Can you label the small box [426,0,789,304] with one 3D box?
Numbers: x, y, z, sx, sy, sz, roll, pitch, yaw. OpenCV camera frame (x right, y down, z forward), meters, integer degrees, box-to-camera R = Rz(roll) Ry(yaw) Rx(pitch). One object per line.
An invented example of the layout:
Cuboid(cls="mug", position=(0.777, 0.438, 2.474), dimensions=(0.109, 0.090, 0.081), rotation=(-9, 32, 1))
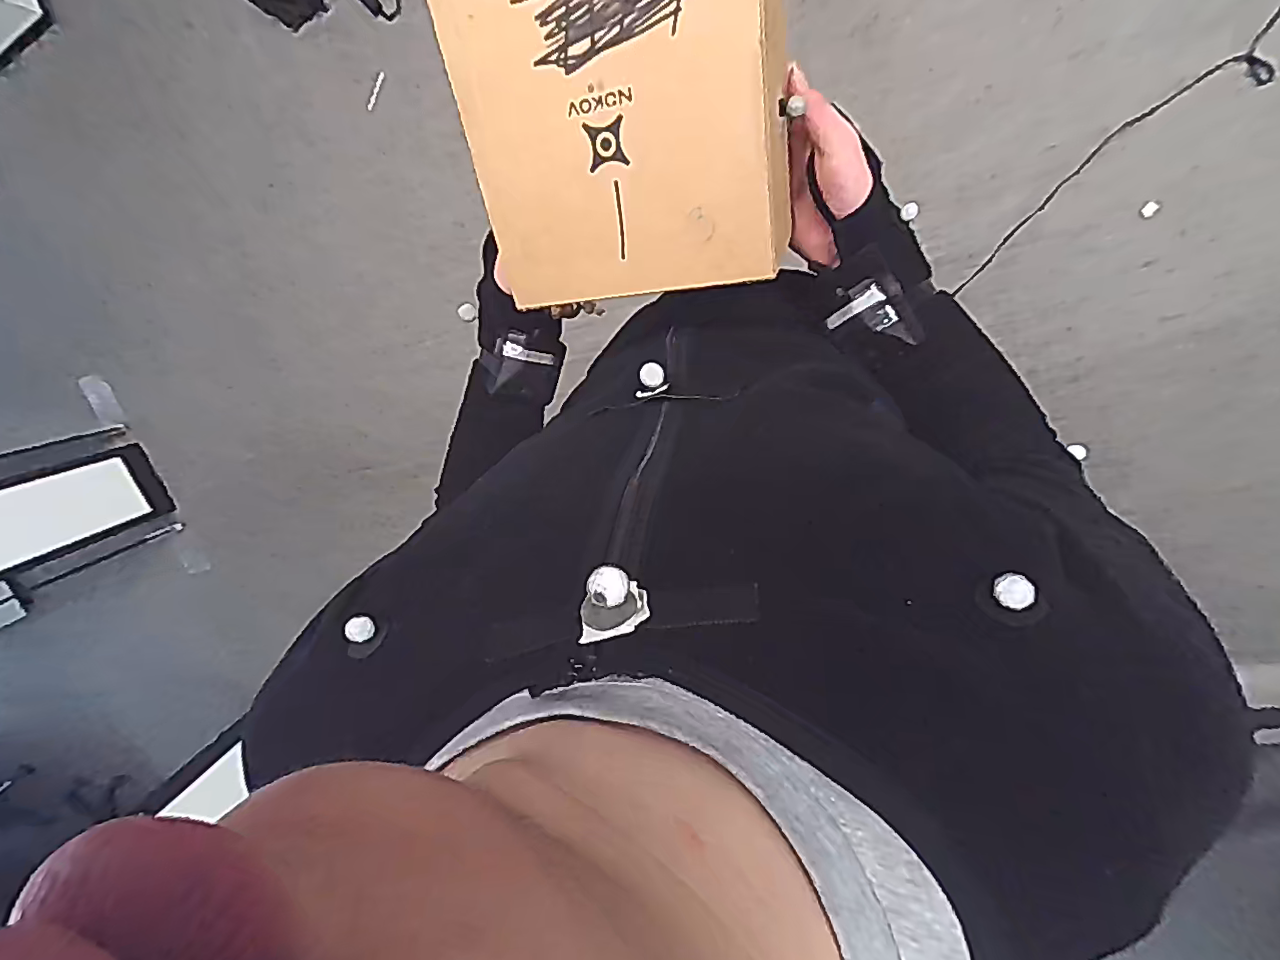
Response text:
Cuboid(cls="small box", position=(0.003, -0.227, 0.343), dimensions=(0.168, 0.176, 0.179), rotation=(1, 123, 20))
